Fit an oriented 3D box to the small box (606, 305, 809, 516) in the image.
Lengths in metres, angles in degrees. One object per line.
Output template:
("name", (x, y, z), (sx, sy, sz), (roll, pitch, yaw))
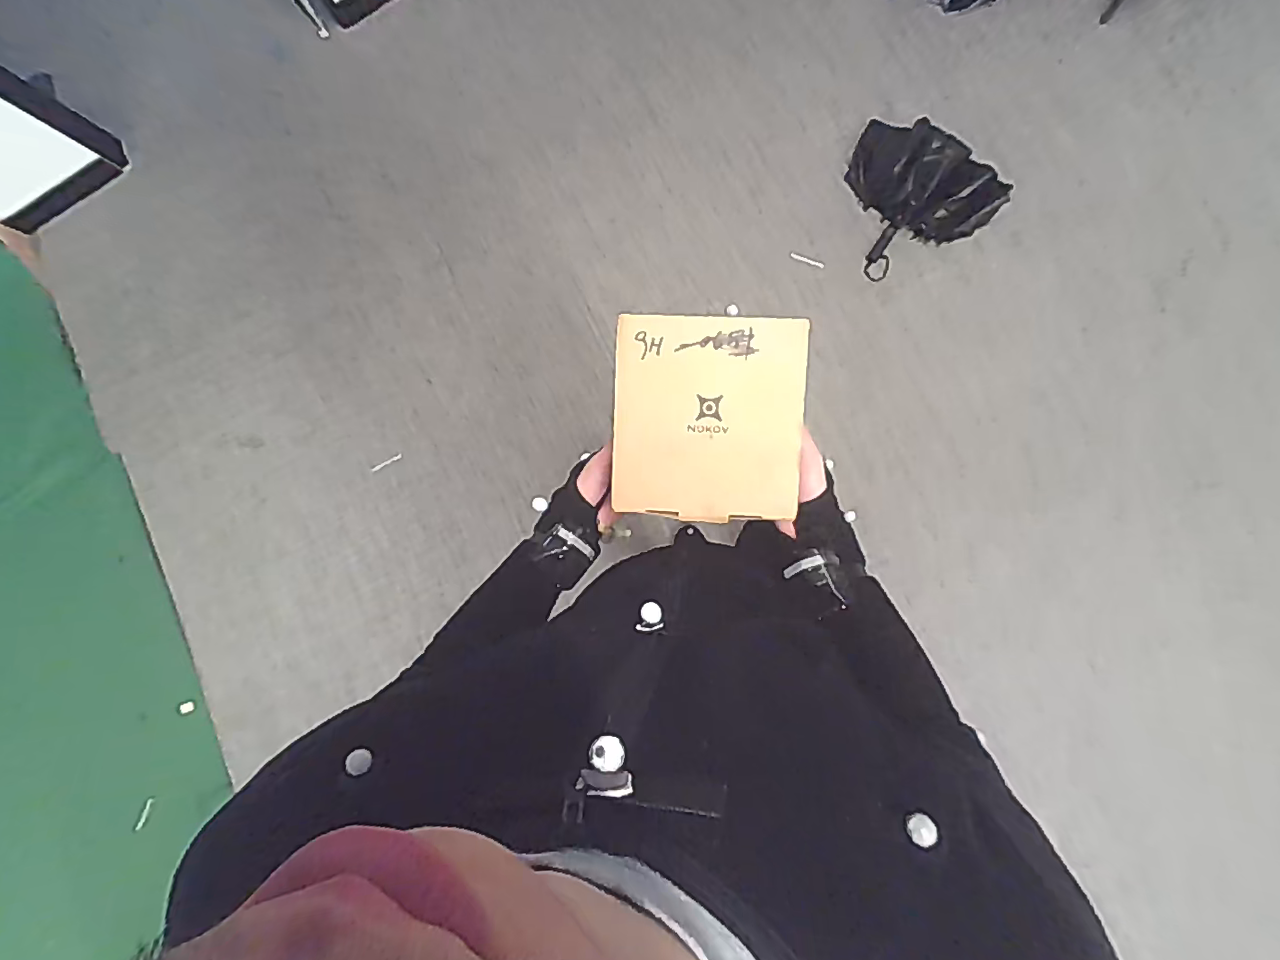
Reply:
("small box", (0.060, -0.067, 0.541), (0.168, 0.176, 0.179), (3, 96, 3))
